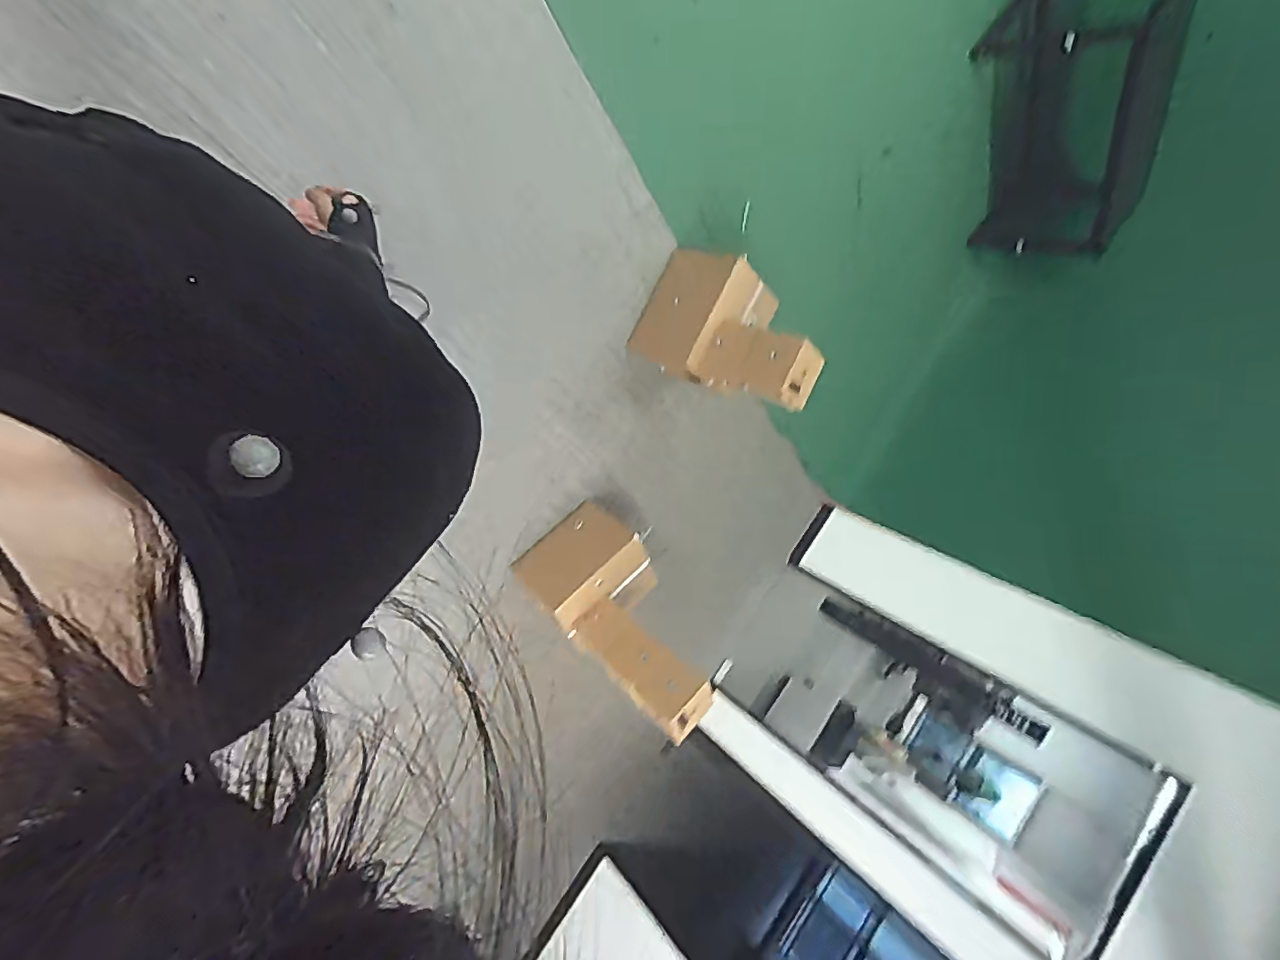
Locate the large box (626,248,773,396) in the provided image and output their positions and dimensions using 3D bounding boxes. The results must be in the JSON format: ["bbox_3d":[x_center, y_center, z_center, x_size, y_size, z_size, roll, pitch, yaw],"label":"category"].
[{"bbox_3d":[0.215,-0.576,1.980,0.320,0.320,0.408,23,94,-50],"label":"large box"}]

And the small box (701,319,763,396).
[{"bbox_3d":[0.328,-0.414,1.810,0.168,0.176,0.179,30,90,-49],"label":"small box"}]

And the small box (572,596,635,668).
[{"bbox_3d":[-0.112,0.544,1.916,0.168,0.176,0.179,-41,137,-21],"label":"small box"}]

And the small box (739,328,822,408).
[{"bbox_3d":[0.436,-0.353,1.701,0.168,0.176,0.179,24,93,-49],"label":"small box"}]

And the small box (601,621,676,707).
[{"bbox_3d":[-0.010,0.612,1.809,0.179,0.176,0.168,-40,137,-23],"label":"small box"}]
